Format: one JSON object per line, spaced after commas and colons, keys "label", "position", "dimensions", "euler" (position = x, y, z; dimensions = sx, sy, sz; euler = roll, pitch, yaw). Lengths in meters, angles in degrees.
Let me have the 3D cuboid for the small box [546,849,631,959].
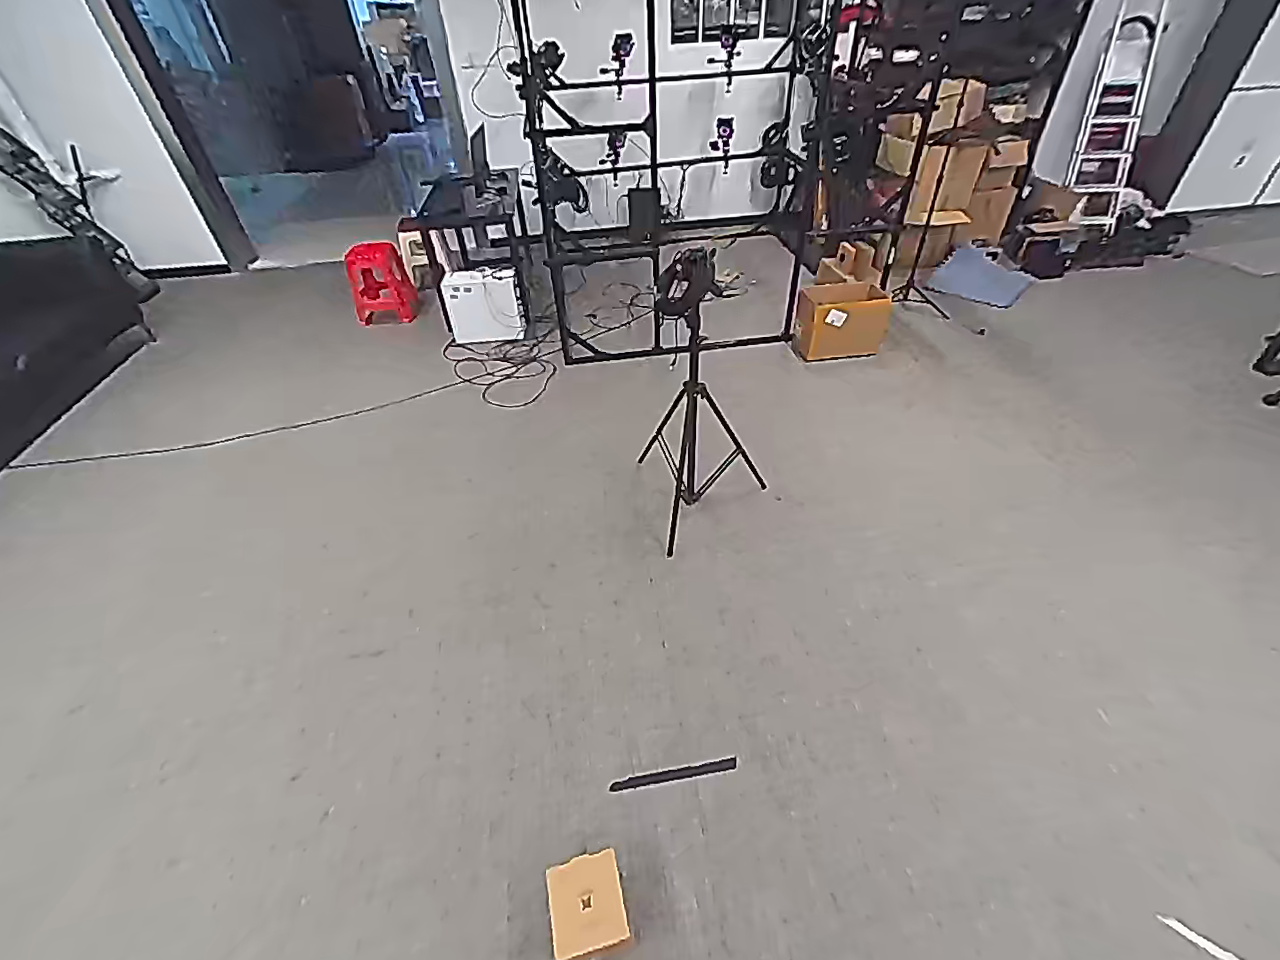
{"label": "small box", "position": [-0.121, 1.008, 1.265], "dimensions": [0.168, 0.176, 0.179], "euler": [-12, 42, -9]}
